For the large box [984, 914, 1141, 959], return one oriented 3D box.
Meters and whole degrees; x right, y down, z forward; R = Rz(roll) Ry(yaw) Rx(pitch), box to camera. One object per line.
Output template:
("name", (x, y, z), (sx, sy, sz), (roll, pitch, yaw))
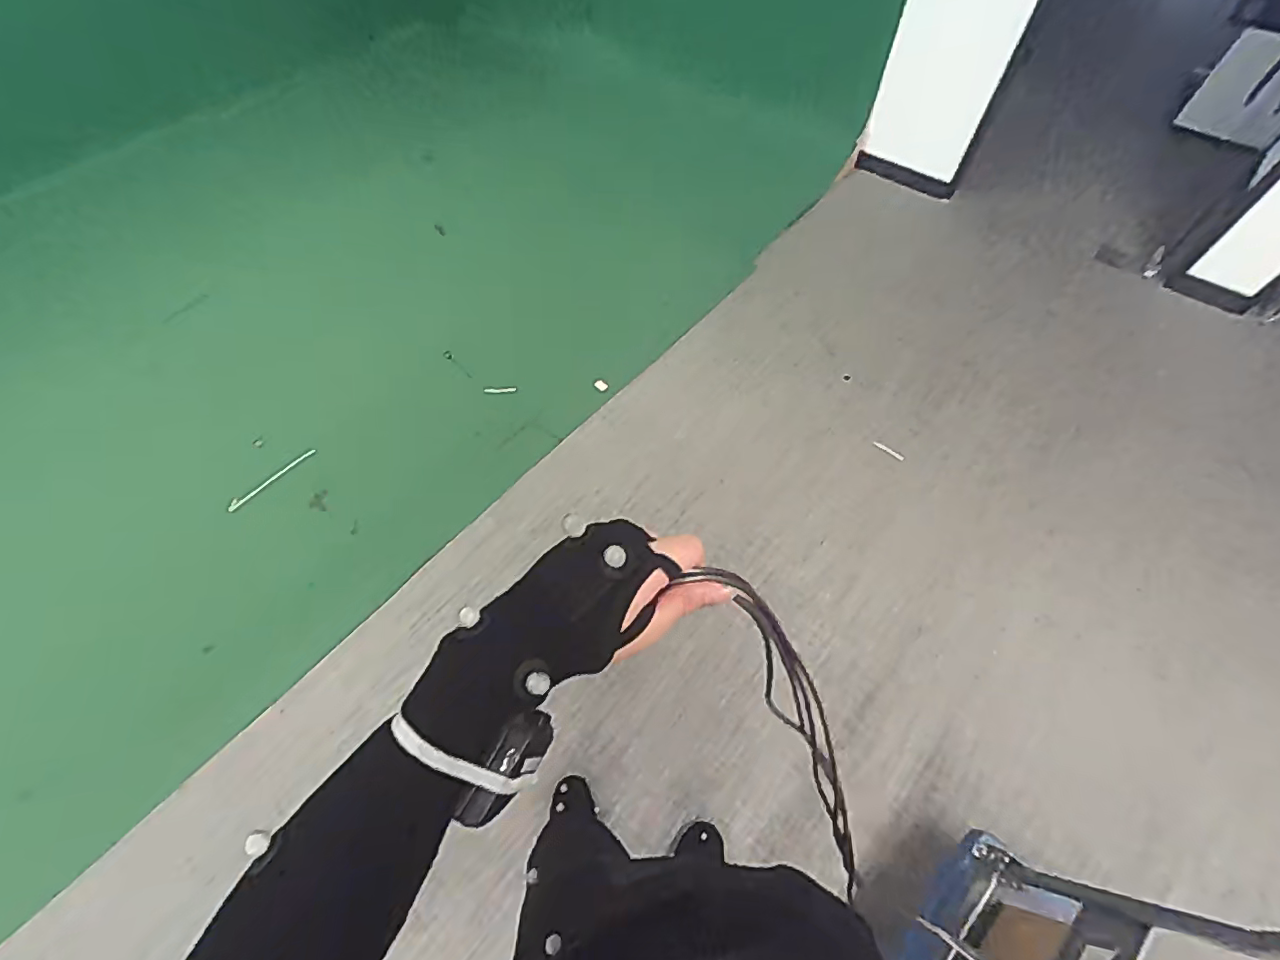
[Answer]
("large box", (0.767, 0.994, 0.828), (0.320, 0.320, 0.408), (-40, 66, -20))
